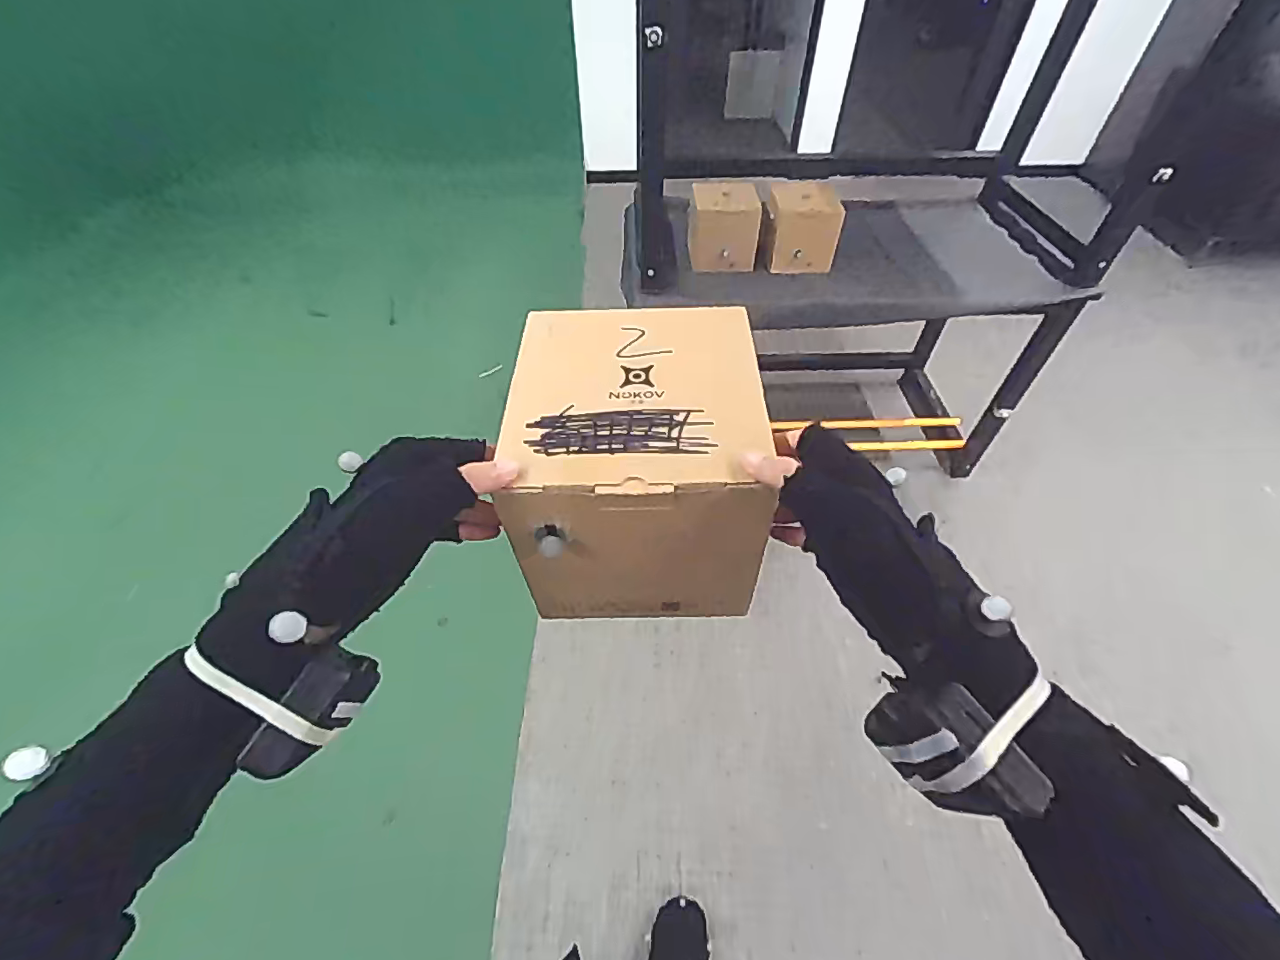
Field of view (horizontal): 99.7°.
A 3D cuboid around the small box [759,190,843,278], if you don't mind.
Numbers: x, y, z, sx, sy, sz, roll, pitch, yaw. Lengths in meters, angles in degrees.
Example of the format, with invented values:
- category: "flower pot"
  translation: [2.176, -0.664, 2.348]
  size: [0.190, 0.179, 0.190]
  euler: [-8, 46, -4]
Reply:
- category: "small box"
  translation: [0.430, -0.670, 1.473]
  size: [0.168, 0.176, 0.179]
  euler: [-1, 48, 0]

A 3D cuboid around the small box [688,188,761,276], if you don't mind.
- category: "small box"
  translation: [0.222, -0.675, 1.474]
  size: [0.168, 0.176, 0.179]
  euler: [-1, 48, 0]
